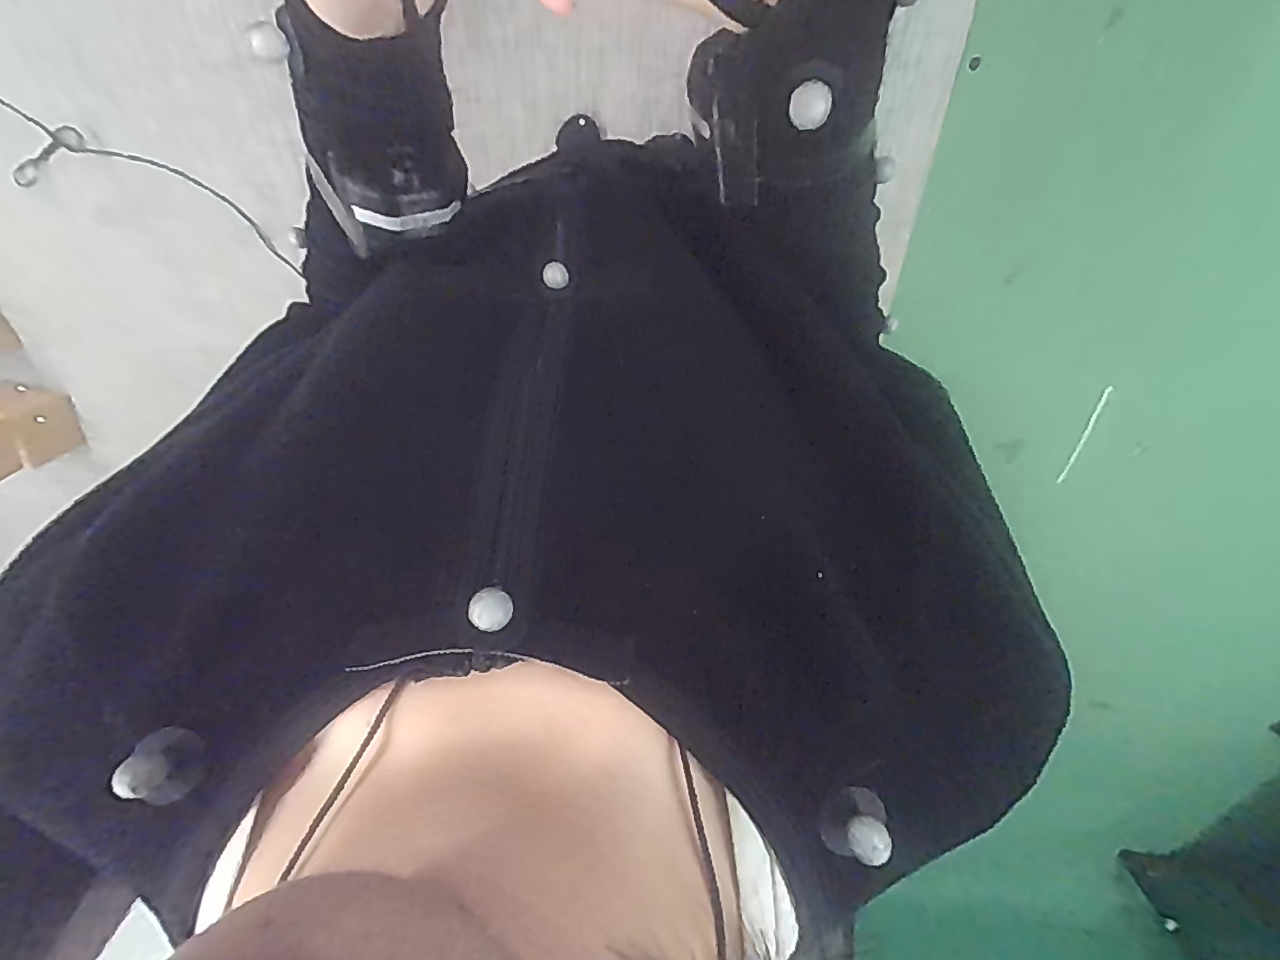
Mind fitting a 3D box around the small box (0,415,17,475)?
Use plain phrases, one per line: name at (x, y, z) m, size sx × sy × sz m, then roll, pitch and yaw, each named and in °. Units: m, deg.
small box at (-1.746, -0.085, 1.357) m, size 0.168 × 0.176 × 0.179 m, roll 17°, pitch 120°, yaw -9°
